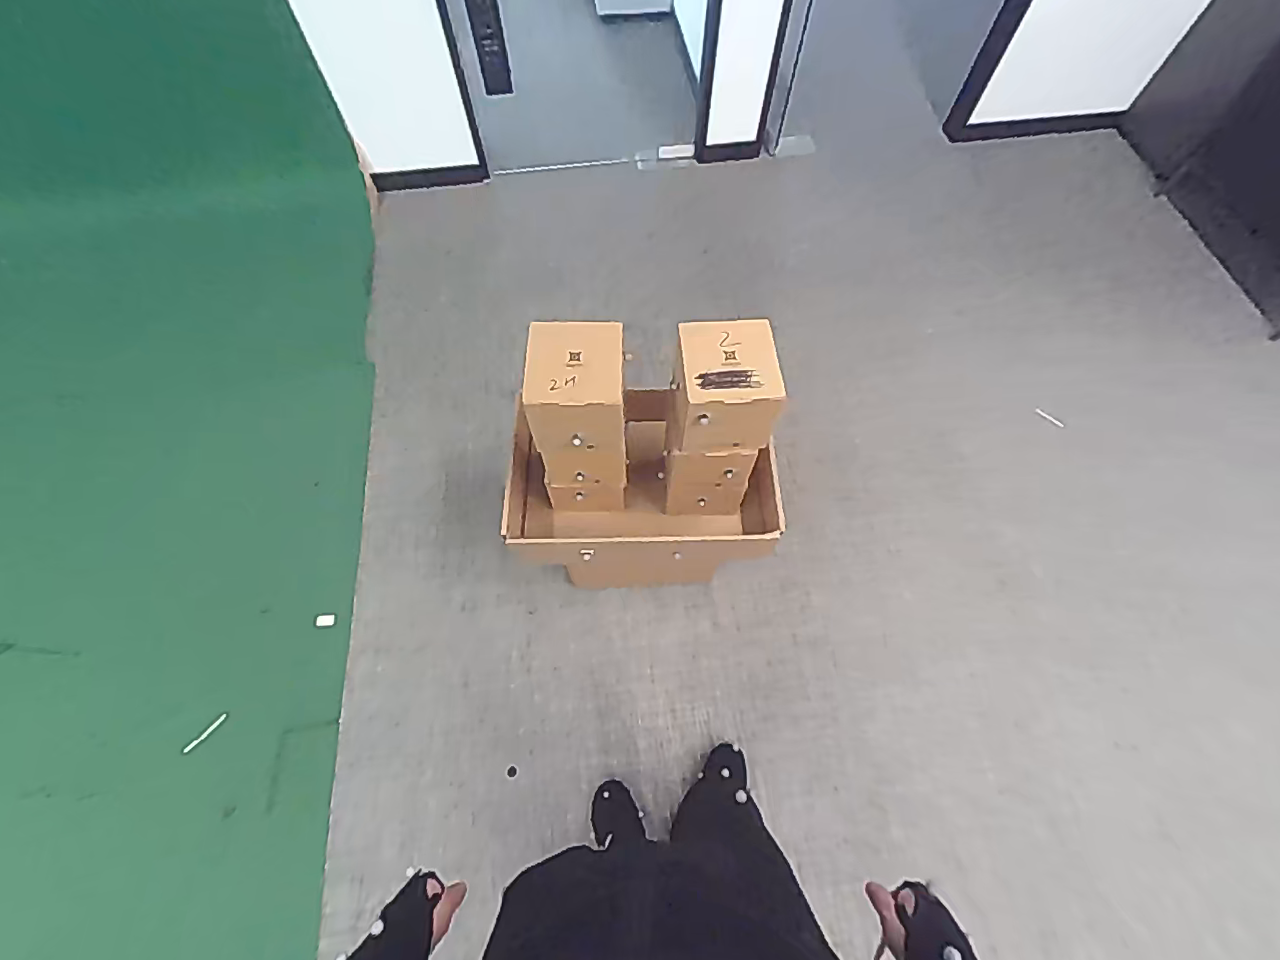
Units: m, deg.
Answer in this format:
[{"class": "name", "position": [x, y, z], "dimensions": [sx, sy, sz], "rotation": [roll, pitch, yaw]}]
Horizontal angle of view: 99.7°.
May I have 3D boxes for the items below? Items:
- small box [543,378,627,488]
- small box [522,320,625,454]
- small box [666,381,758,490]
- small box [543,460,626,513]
[{"class": "small box", "position": [-0.112, -0.099, 1.136], "dimensions": [0.168, 0.176, 0.179], "rotation": [0, 64, -1]}, {"class": "small box", "position": [-0.113, -0.166, 0.986], "dimensions": [0.168, 0.176, 0.179], "rotation": [1, 64, -1]}, {"class": "small box", "position": [0.143, -0.087, 1.131], "dimensions": [0.168, 0.176, 0.179], "rotation": [0, 63, -1]}, {"class": "small box", "position": [-0.124, -0.028, 1.284], "dimensions": [0.179, 0.176, 0.168], "rotation": [1, 64, -1]}]
